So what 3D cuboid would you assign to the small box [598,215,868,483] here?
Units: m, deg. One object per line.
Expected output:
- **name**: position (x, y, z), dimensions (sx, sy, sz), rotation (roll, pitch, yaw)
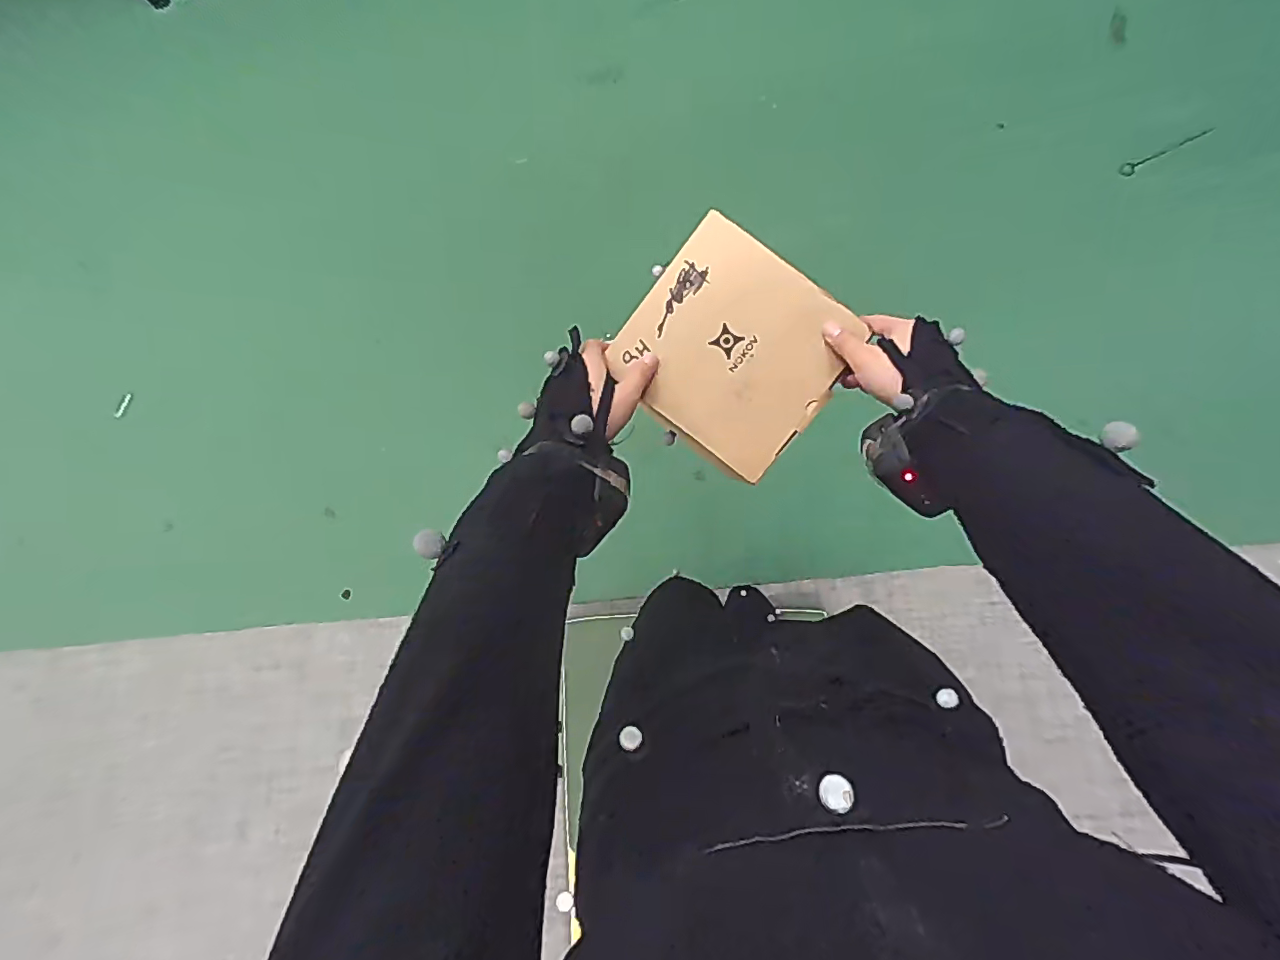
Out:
- **small box**: position (0.083, -0.117, 0.545), dimensions (0.179, 0.176, 0.168), rotation (38, 93, 0)
